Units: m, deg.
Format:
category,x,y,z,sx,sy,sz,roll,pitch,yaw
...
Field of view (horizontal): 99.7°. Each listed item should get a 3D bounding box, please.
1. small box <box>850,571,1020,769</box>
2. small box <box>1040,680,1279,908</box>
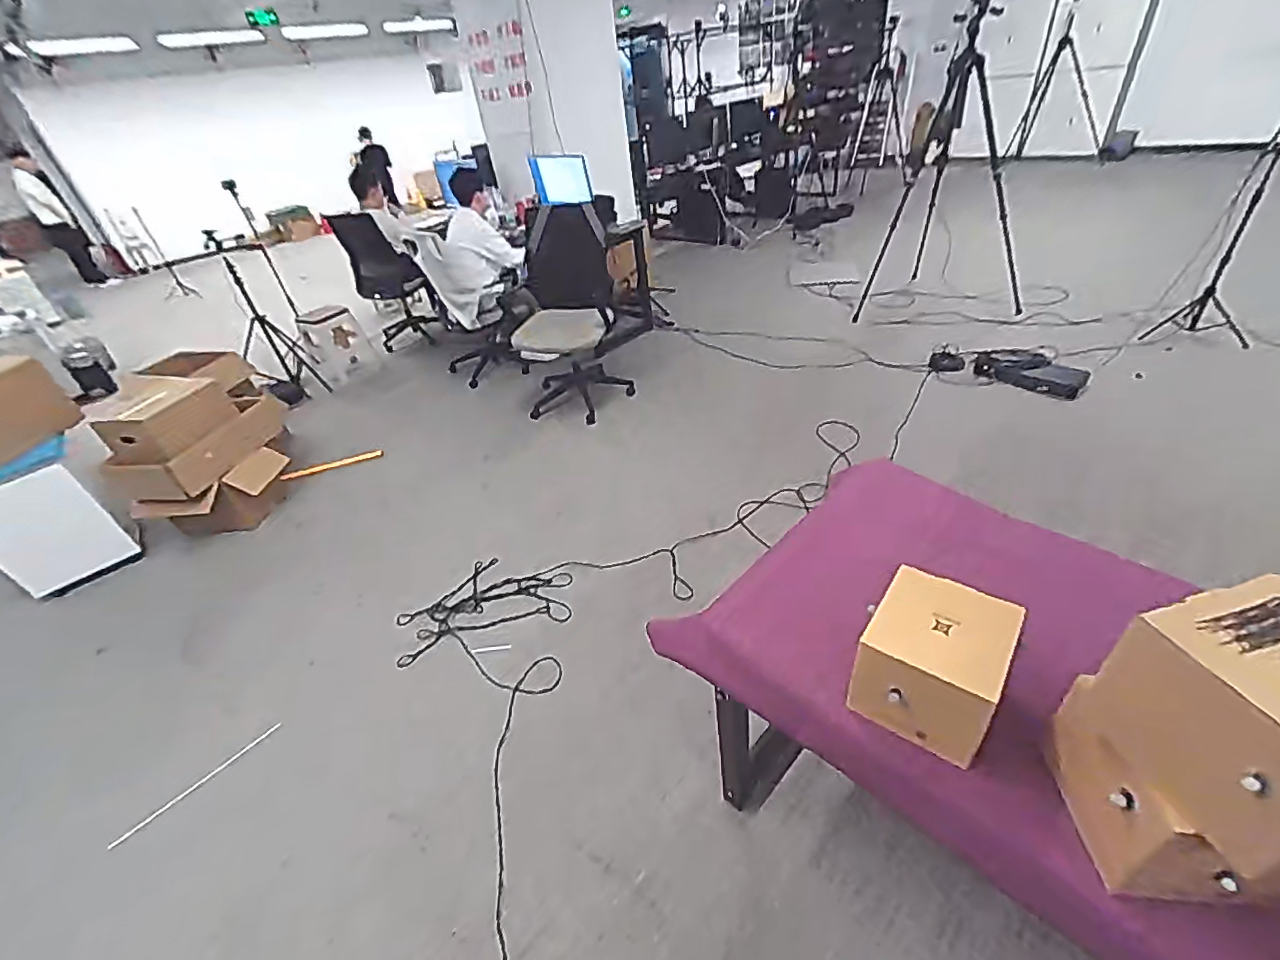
category,x,y,z,sx,sy,sz,roll,pitch,yaw
small box,0.417,0.271,0.781,0.168,0.176,0.179,20,43,34
small box,0.607,0.356,0.620,0.168,0.176,0.179,-1,35,9
